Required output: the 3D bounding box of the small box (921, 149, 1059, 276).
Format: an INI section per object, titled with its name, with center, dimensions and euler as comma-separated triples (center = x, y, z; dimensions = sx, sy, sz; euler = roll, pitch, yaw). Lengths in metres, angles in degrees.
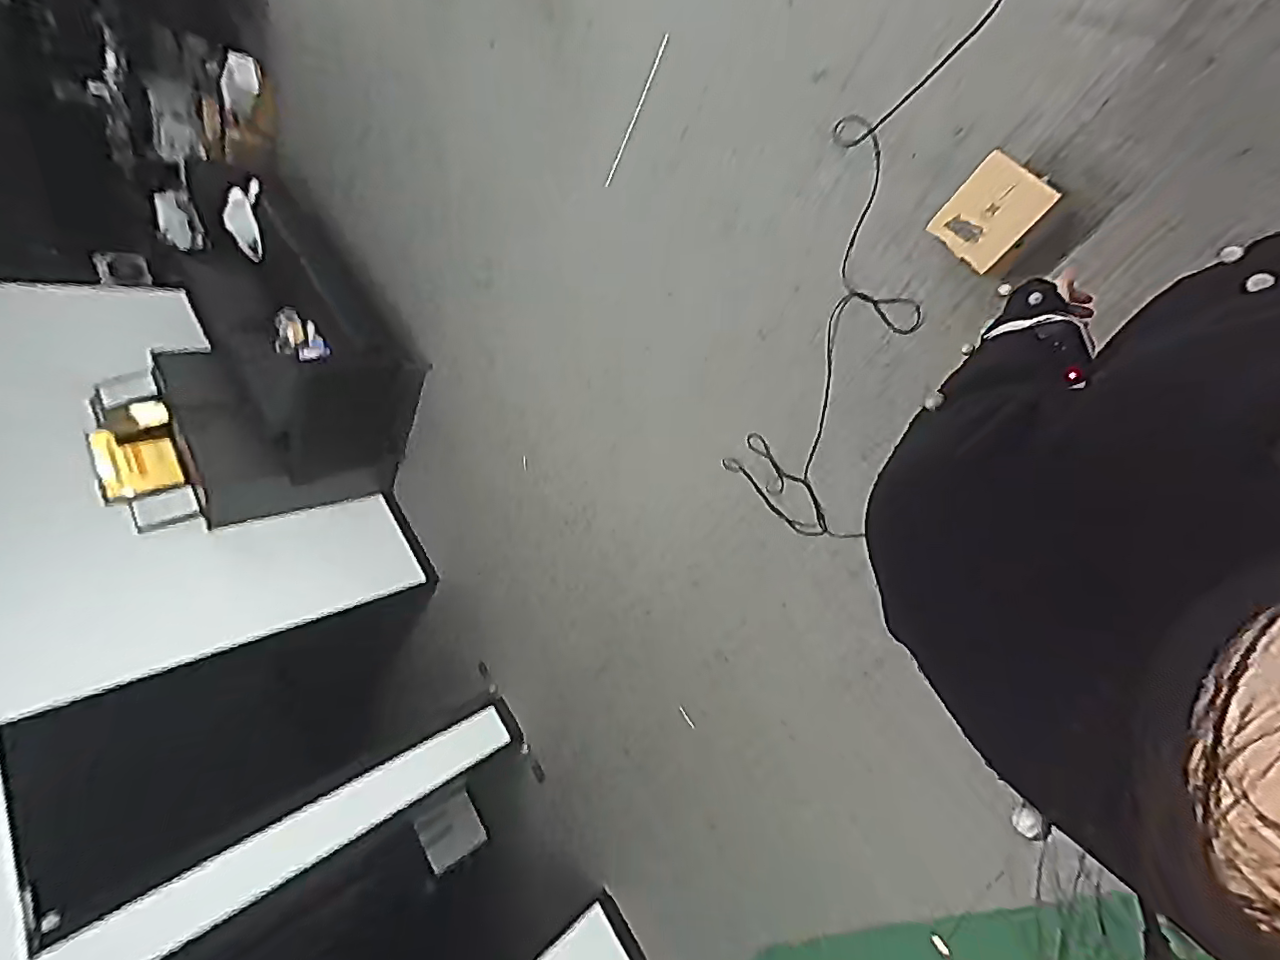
[small box]
center = 0.755, -0.563, 1.163
dimensions = 0.168, 0.176, 0.179
euler = 54, 130, 19
